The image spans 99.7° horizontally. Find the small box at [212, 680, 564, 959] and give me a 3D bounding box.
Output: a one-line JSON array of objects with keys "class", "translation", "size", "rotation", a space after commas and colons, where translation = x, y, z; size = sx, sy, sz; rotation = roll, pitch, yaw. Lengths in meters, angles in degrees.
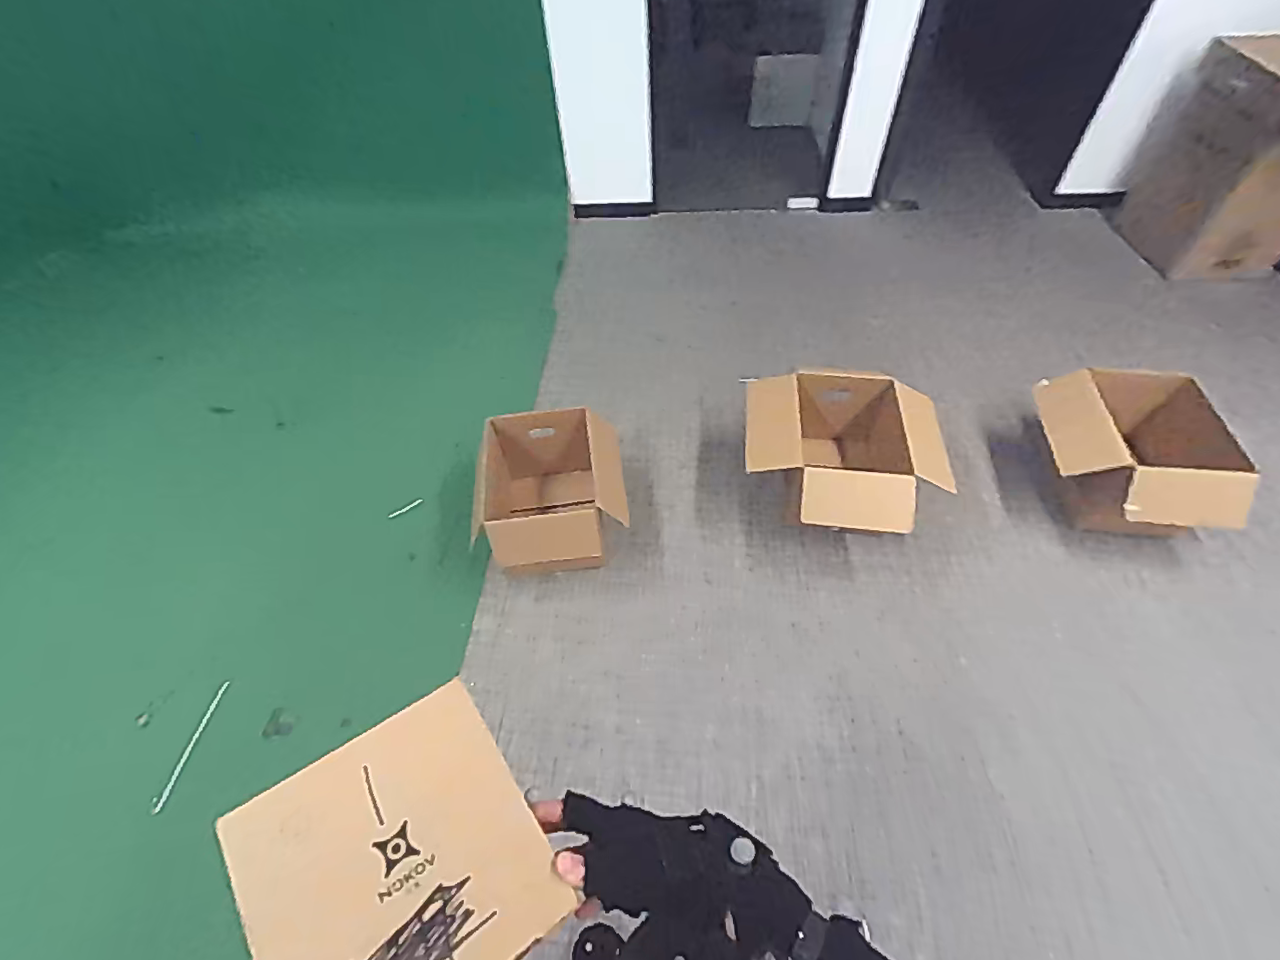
[{"class": "small box", "translation": [-0.172, 0.291, 0.409], "size": [0.168, 0.176, 0.179], "rotation": [-26, 62, -28]}]
